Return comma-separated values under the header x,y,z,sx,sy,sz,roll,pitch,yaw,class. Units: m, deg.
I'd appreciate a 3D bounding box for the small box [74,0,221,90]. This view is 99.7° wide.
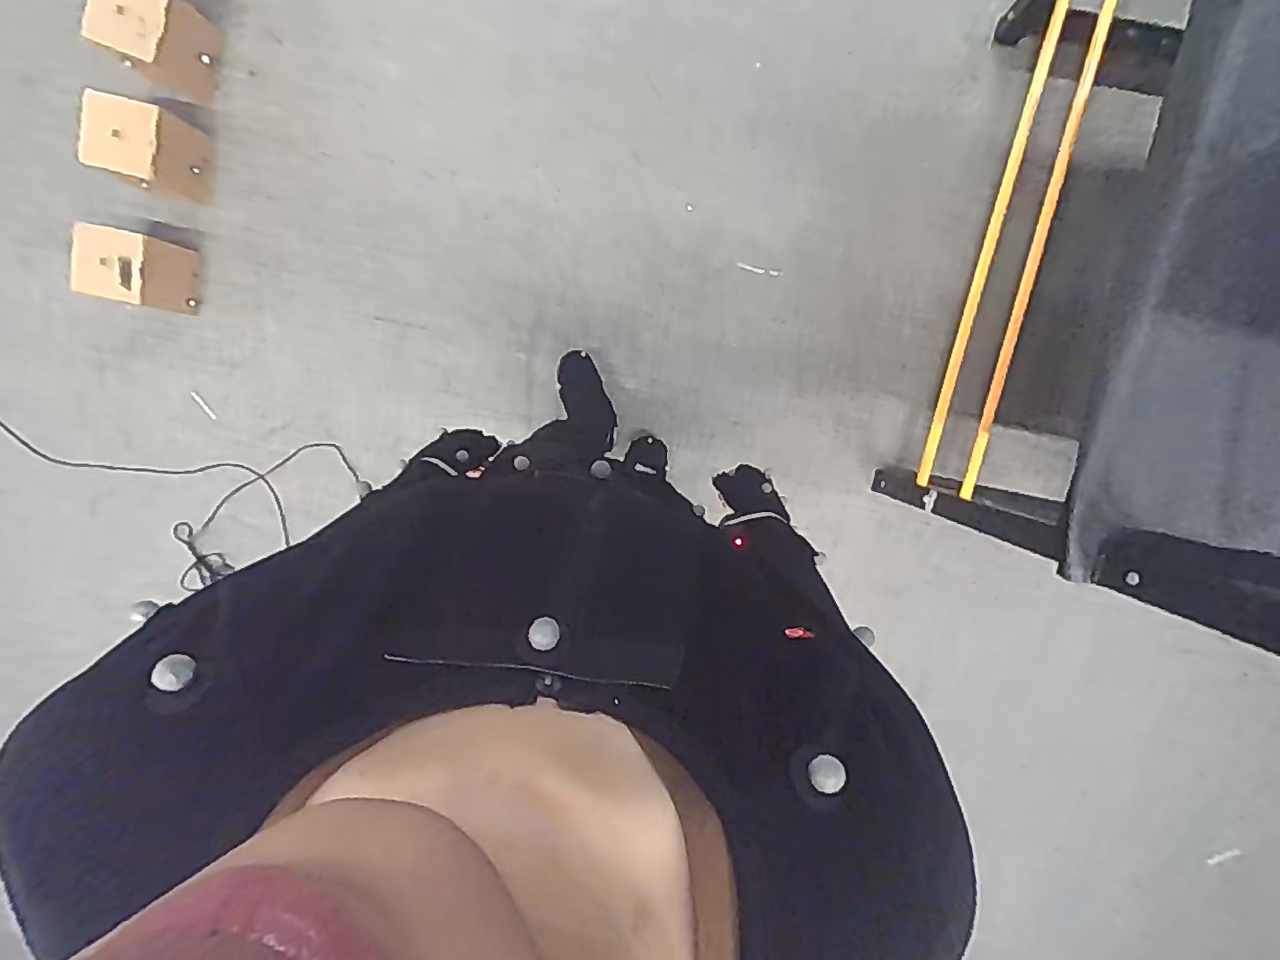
x,y,z,sx,sy,sz,roll,pitch,yaw,class
-1.154,-1.072,1.277,0.179,0.176,0.168,21,99,-2,small box

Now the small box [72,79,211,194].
x,y,z,sx,sy,sz,roll,pitch,yaw,class
-1.204,-0.823,1.314,0.179,0.176,0.168,13,98,-1,small box

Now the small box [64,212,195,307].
x,y,z,sx,sy,sz,roll,pitch,yaw,class
-1.267,-0.542,1.353,0.179,0.176,0.168,13,98,1,small box
